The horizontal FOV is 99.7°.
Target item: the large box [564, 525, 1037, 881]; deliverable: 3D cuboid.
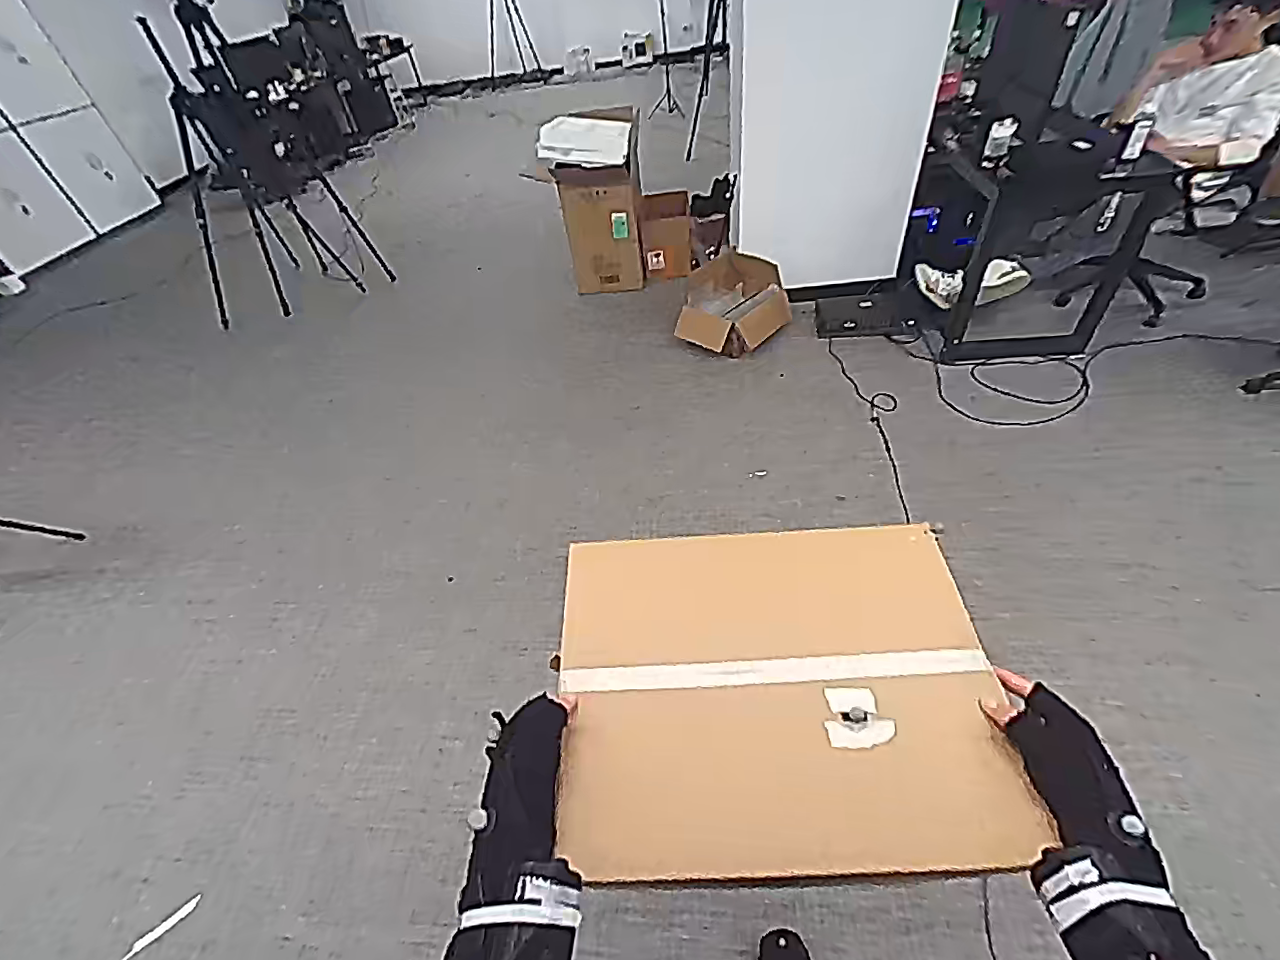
[{"bbox_3d":[0.133,0.279,0.655,0.408,0.320,0.320,-4,53,2],"label":"large box"}]
